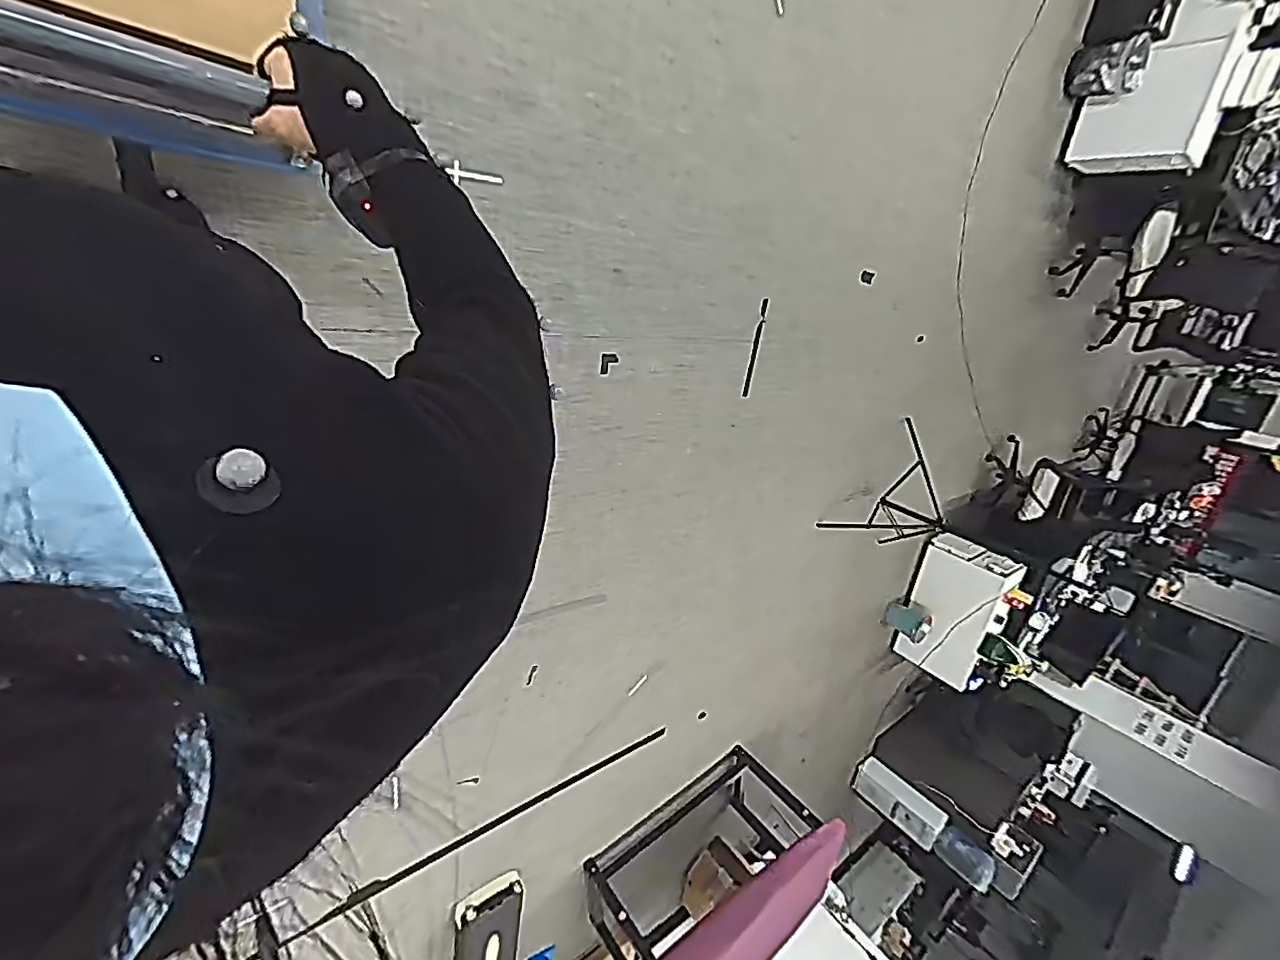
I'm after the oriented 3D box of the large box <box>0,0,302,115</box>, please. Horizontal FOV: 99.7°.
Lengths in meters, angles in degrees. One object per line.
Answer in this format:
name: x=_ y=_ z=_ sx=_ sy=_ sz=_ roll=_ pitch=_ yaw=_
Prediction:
large box: x=-0.689 y=-0.710 z=0.673 sx=0.408 sy=0.320 sz=0.320 roll=-7 pitch=115 yaw=-40
